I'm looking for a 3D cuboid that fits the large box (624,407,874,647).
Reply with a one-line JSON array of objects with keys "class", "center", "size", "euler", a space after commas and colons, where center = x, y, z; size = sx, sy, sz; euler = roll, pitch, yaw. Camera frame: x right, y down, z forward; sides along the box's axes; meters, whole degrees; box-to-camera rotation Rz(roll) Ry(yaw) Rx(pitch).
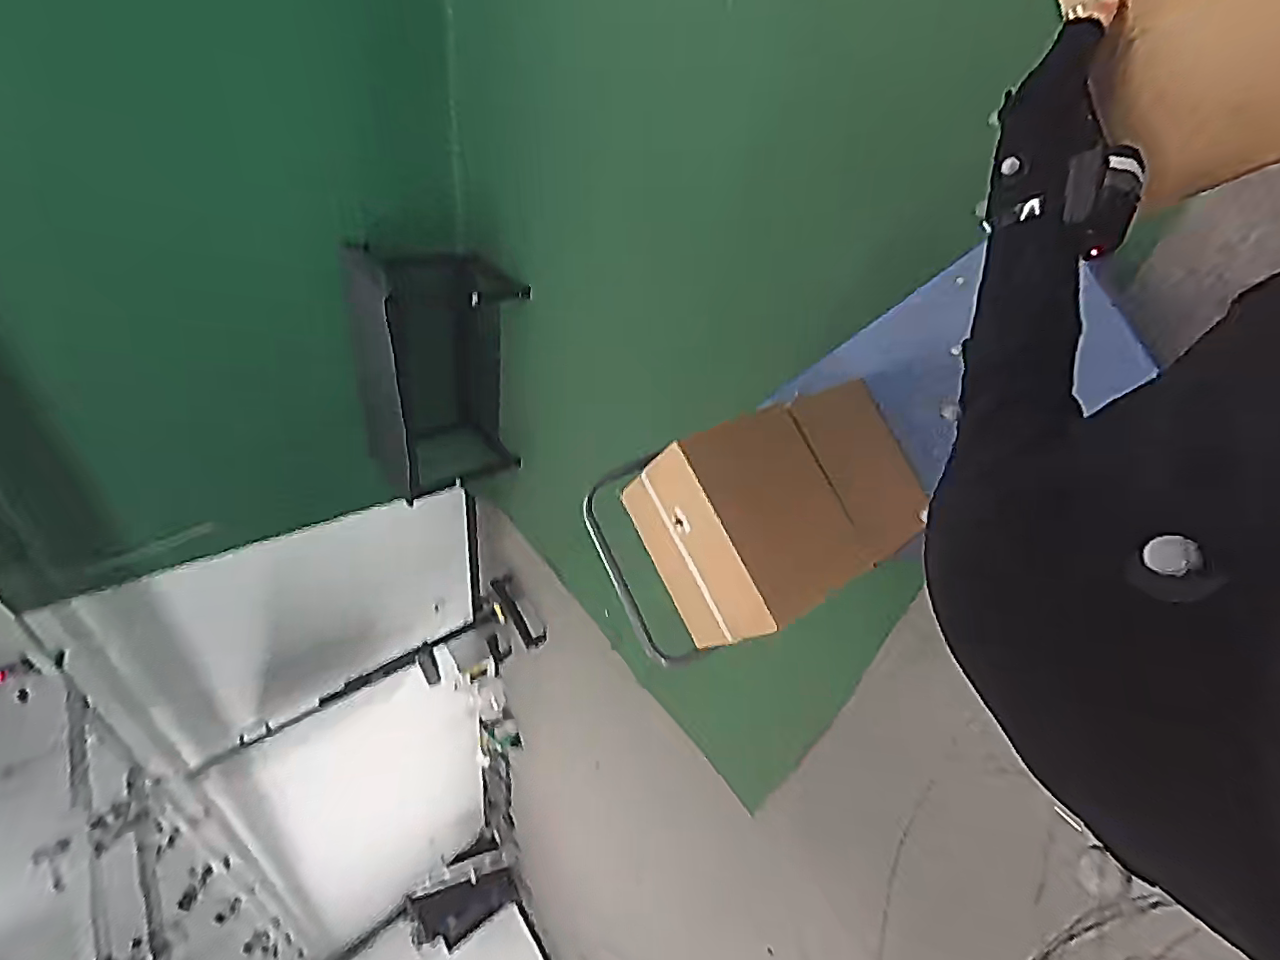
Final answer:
[{"class": "large box", "center": [0.227, 0.108, 1.211], "size": [0.408, 0.320, 0.320], "euler": [63, 149, 11]}]
